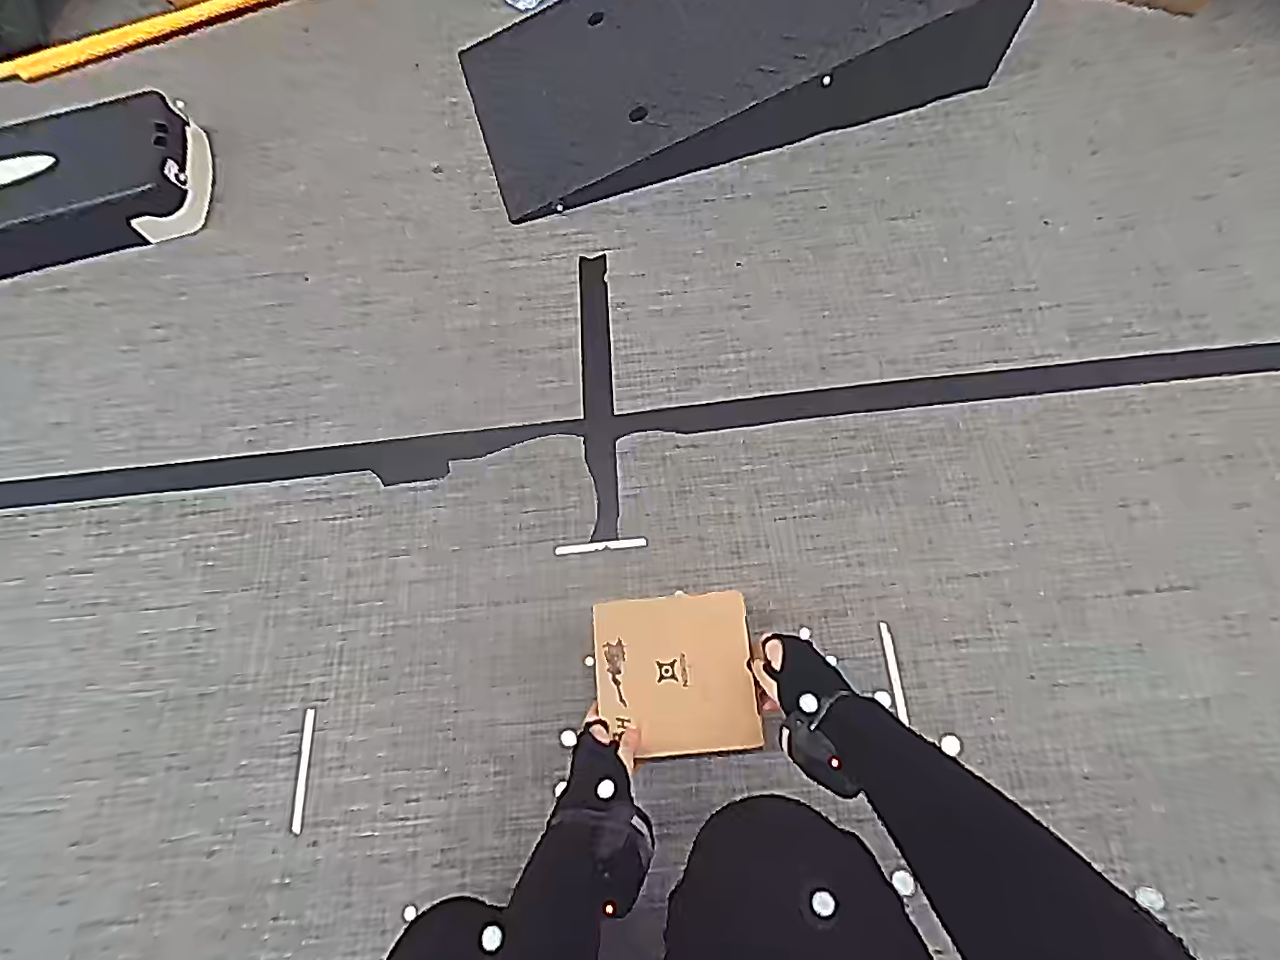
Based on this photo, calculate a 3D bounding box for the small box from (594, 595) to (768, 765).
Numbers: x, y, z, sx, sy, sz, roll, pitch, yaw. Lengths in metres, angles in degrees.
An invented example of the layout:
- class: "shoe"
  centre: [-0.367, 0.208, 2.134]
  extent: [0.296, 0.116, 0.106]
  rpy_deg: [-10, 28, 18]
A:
- class: "small box"
  centre: [0.042, 0.234, 0.652]
  extent: [0.179, 0.176, 0.168]
  rpy_deg: [-5, 71, 1]
